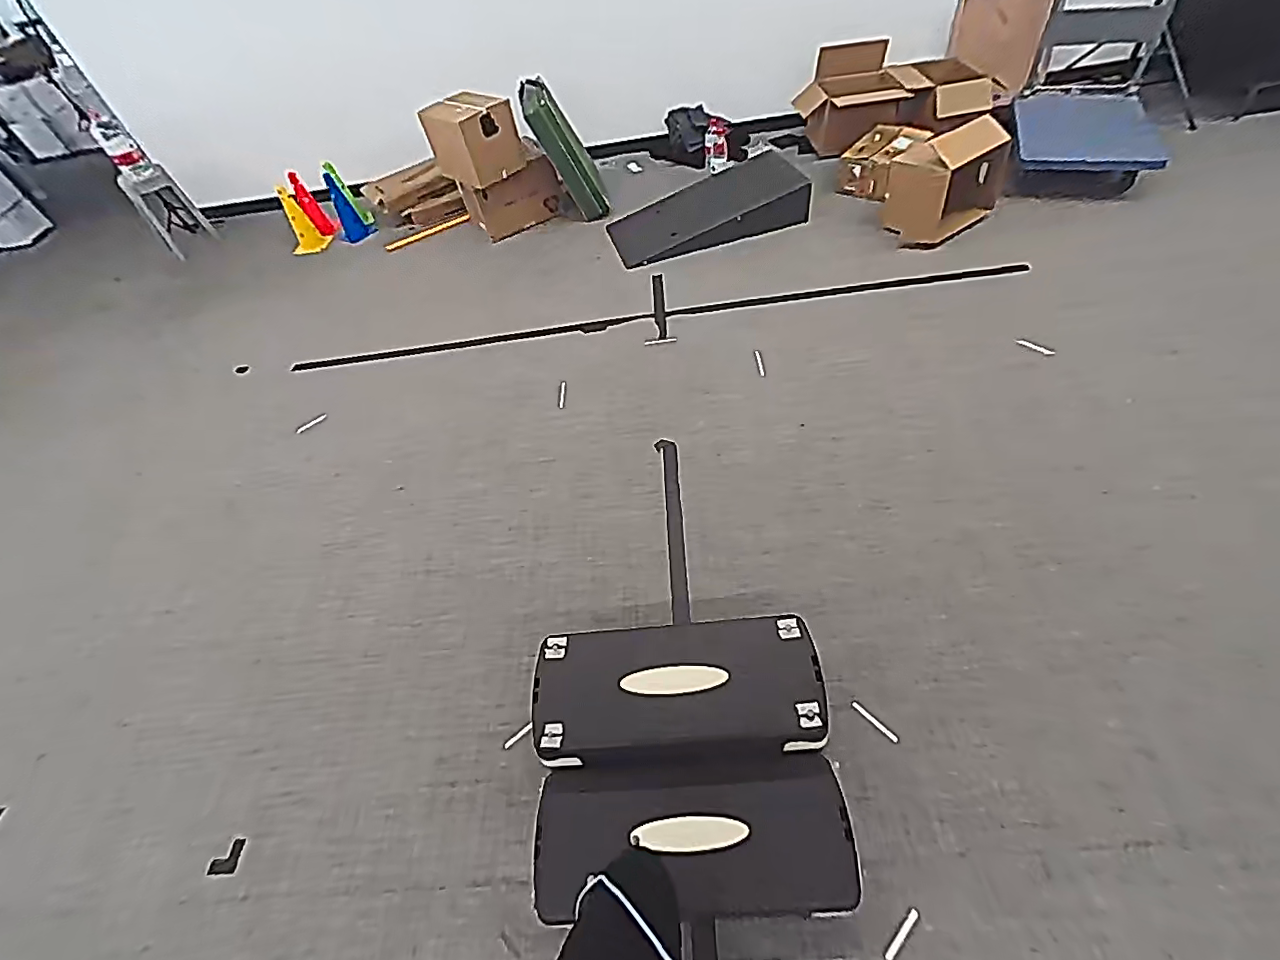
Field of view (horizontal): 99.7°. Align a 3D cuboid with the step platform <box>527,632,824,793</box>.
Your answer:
[{"bbox_3d":[0.077,0.551,1.292,0.684,0.204,0.286,-6,51,3],"label":"step platform"}]
